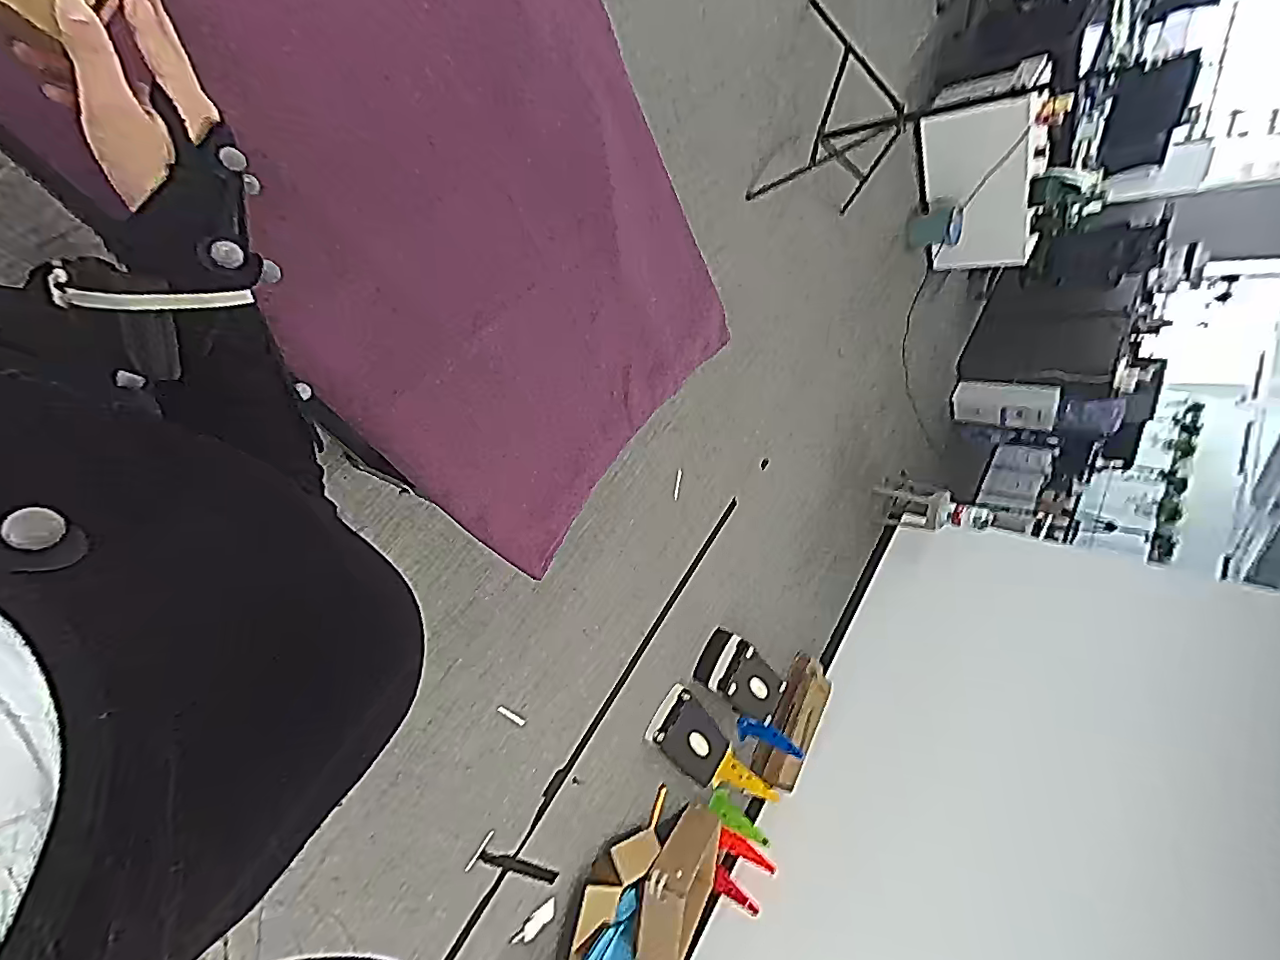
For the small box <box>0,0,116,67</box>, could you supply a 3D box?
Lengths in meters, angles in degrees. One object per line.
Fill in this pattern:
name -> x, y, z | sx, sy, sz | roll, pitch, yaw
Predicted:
small box -> -0.346, -0.353, 0.265 | 0.168, 0.176, 0.179 | 32, 86, -51
